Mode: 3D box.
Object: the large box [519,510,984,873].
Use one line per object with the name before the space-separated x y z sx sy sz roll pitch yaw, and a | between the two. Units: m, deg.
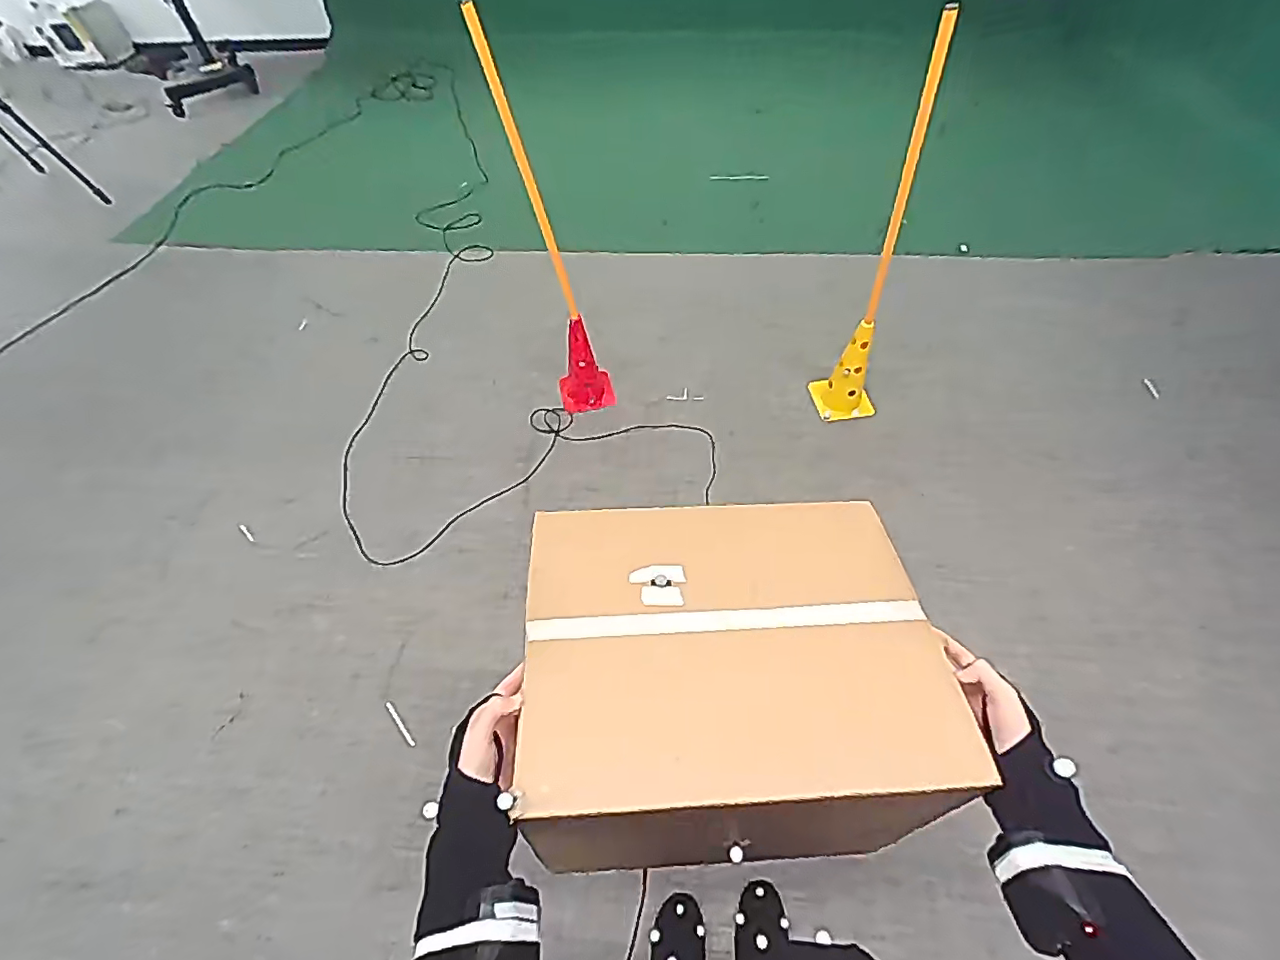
large box | 0.089 0.259 0.658 0.408 0.320 0.320 -3 47 -3
